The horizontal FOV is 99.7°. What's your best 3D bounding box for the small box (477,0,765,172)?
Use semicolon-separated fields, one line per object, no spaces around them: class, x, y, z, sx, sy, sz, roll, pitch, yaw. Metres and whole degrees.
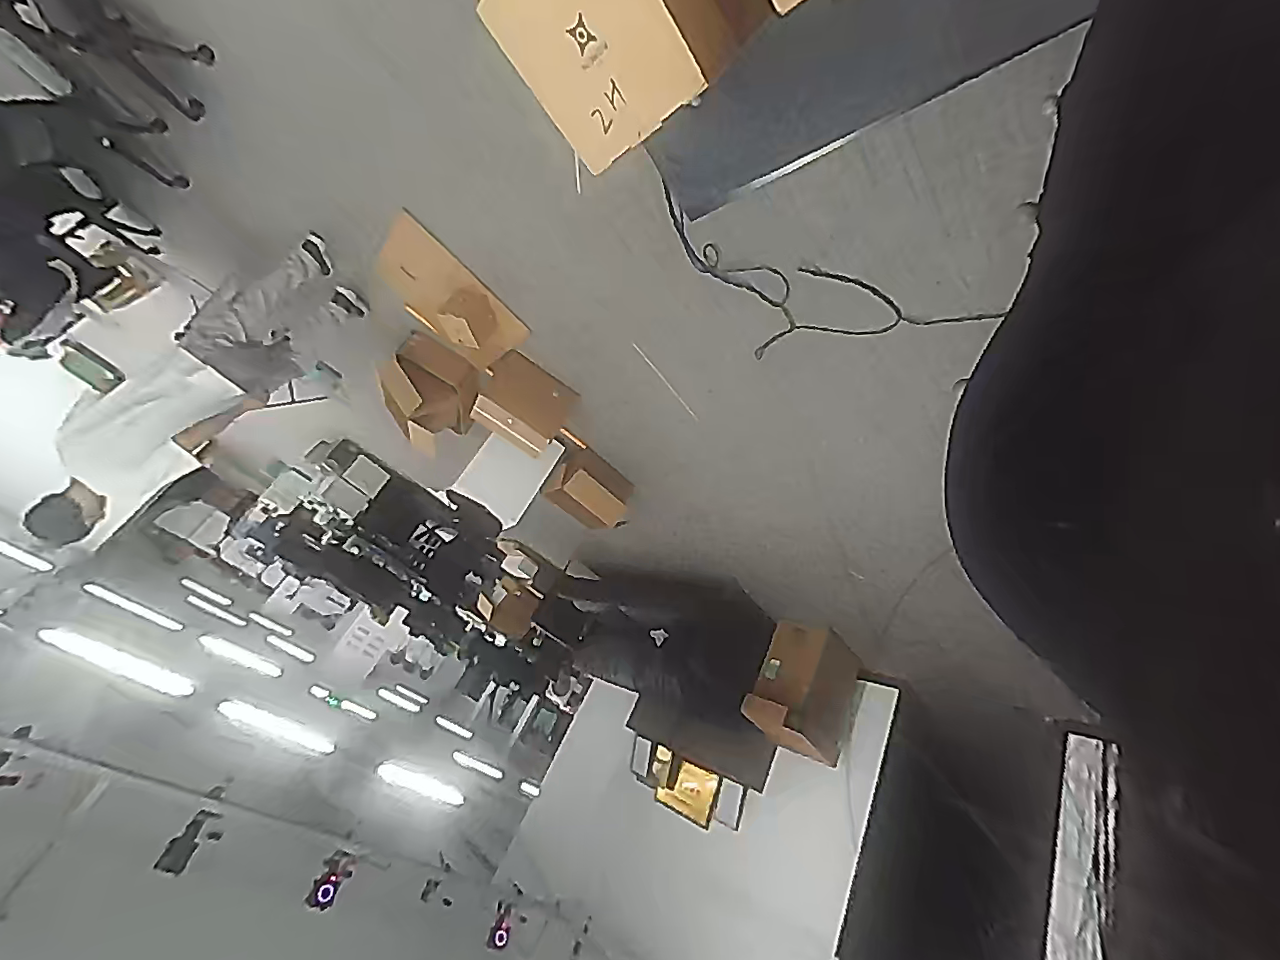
small box;-0.010;-0.449;0.514;0.168;0.176;0.179;-6;137;48
